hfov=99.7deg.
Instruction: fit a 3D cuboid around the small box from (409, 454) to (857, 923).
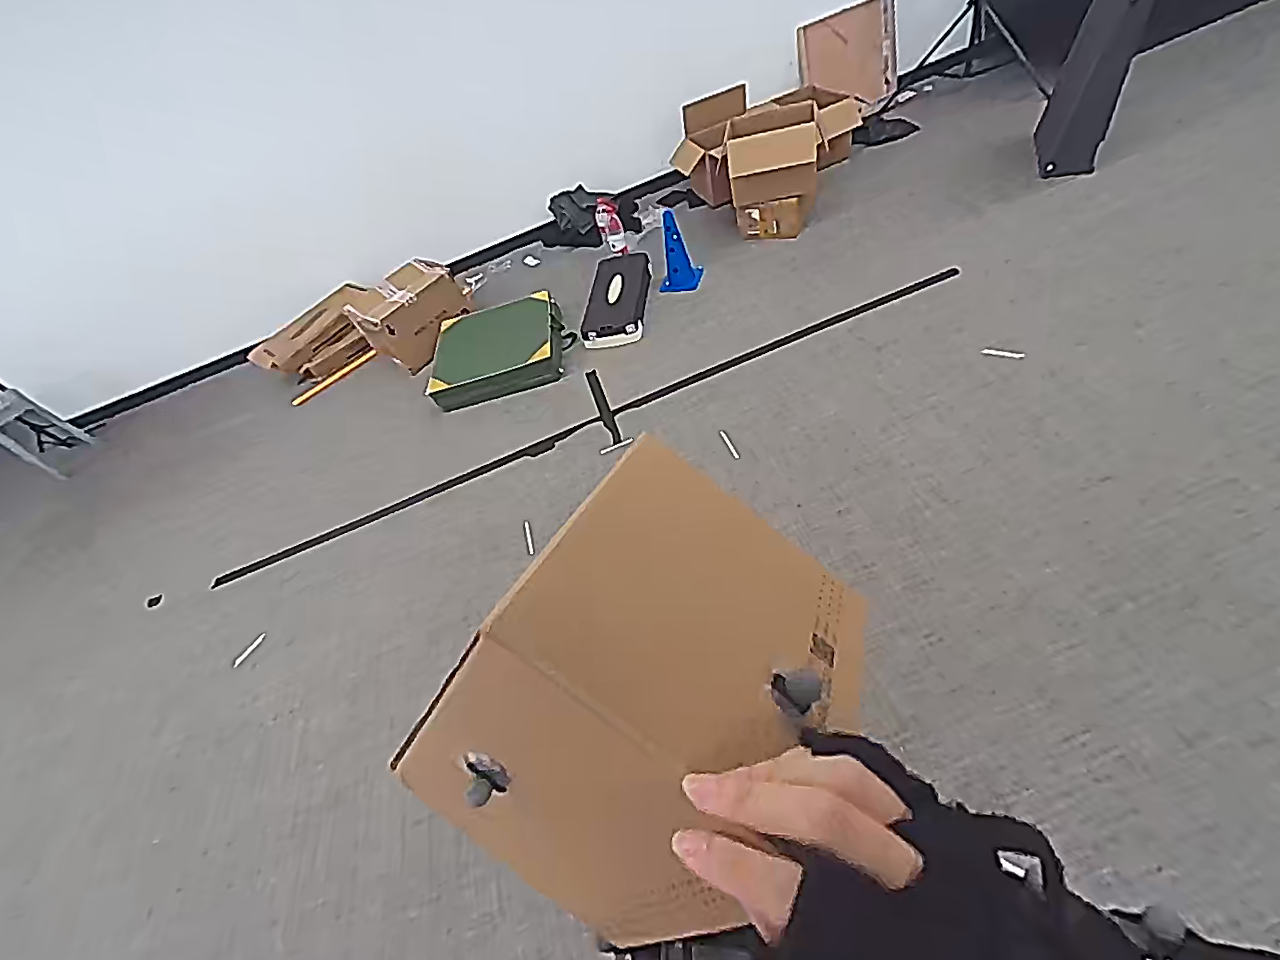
[{"bbox_3d":[0.000,0.125,0.326,0.176,0.179,0.168,37,38,-1],"label":"small box"}]
